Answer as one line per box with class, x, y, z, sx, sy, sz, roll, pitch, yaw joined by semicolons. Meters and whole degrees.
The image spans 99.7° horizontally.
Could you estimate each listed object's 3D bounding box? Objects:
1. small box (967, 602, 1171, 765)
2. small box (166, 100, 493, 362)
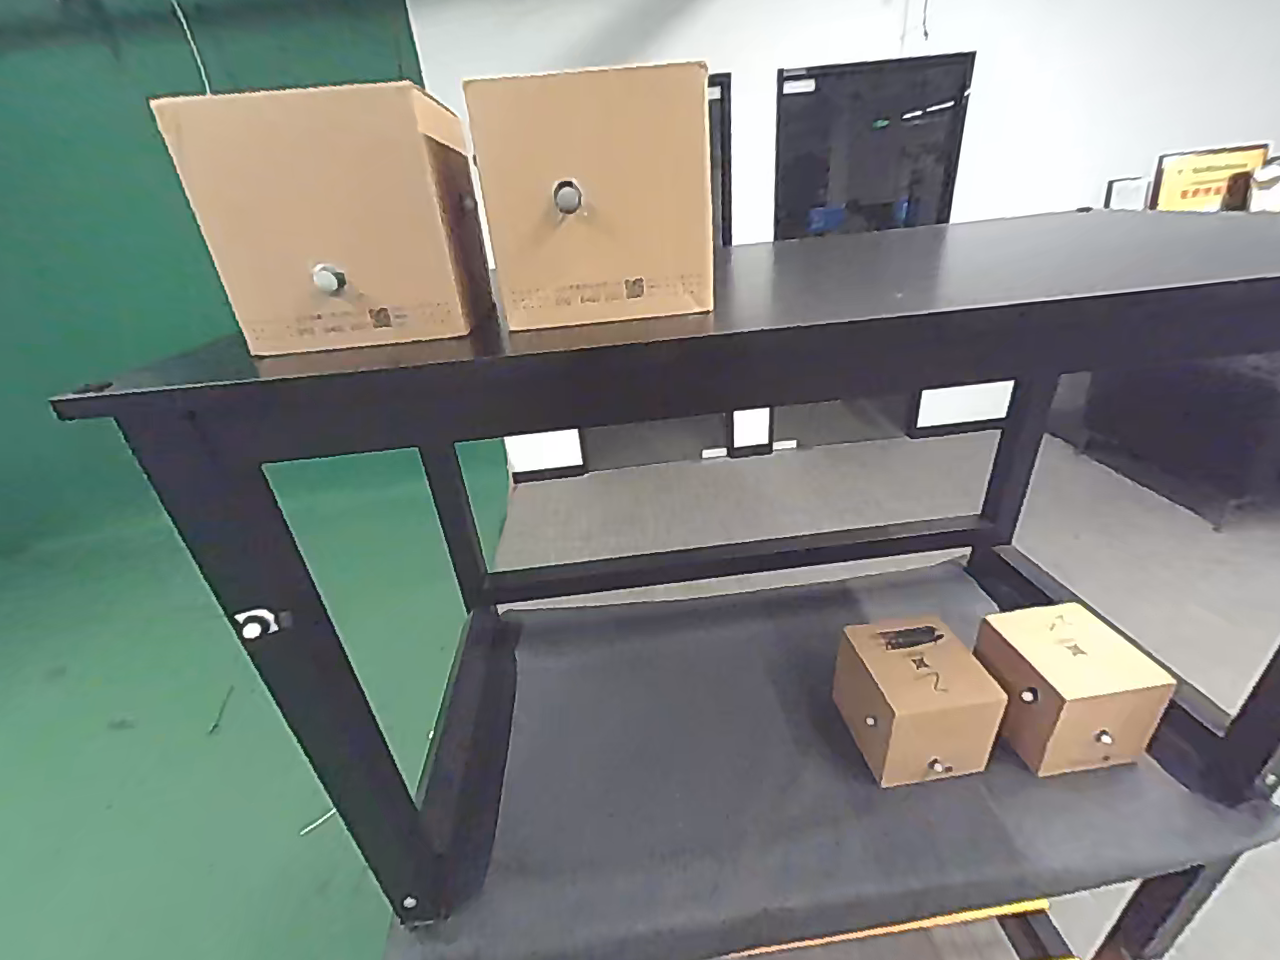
small box;0.658;0.324;0.856;0.168;0.176;0.179;-7;26;-3
small box;-0.232;-0.208;0.465;0.168;0.176;0.179;-7;28;-3
